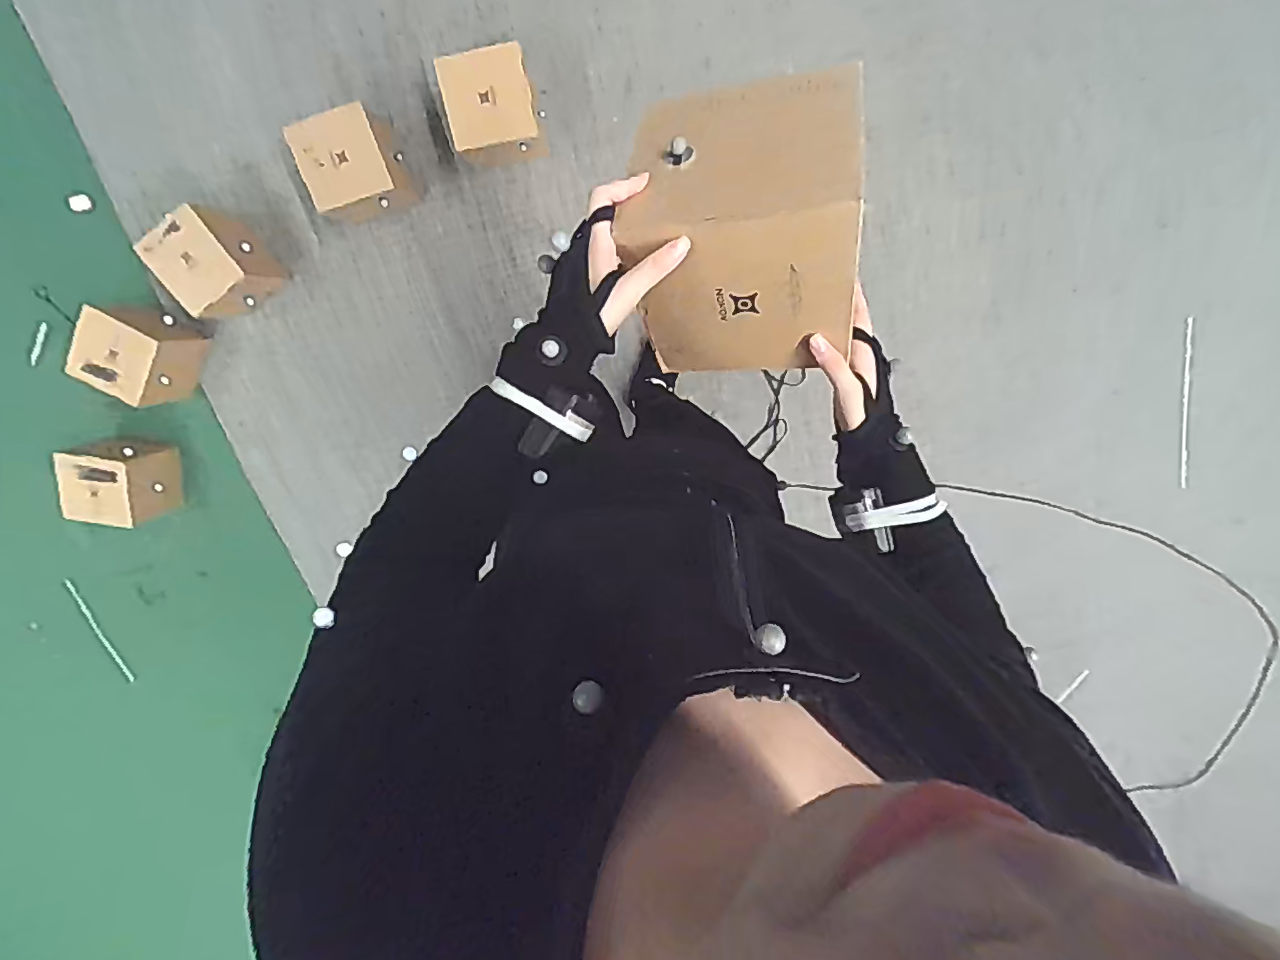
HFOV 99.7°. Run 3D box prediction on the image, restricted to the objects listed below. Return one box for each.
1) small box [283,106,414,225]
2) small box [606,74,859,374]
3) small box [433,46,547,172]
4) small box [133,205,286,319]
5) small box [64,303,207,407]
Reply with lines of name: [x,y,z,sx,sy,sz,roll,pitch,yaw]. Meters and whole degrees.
small box: [-0.619,-0.677,1.183,0.179,0.176,0.168,-16,106,3]
small box: [0.090,-0.212,0.474,0.179,0.176,0.168,2,152,18]
small box: [-0.311,-0.782,1.159,0.179,0.176,0.168,-11,107,1]
small box: [-0.968,-0.491,1.235,0.168,0.176,0.179,-31,106,8]
small box: [-1.192,-0.300,1.290,0.168,0.176,0.179,30,104,-9]
